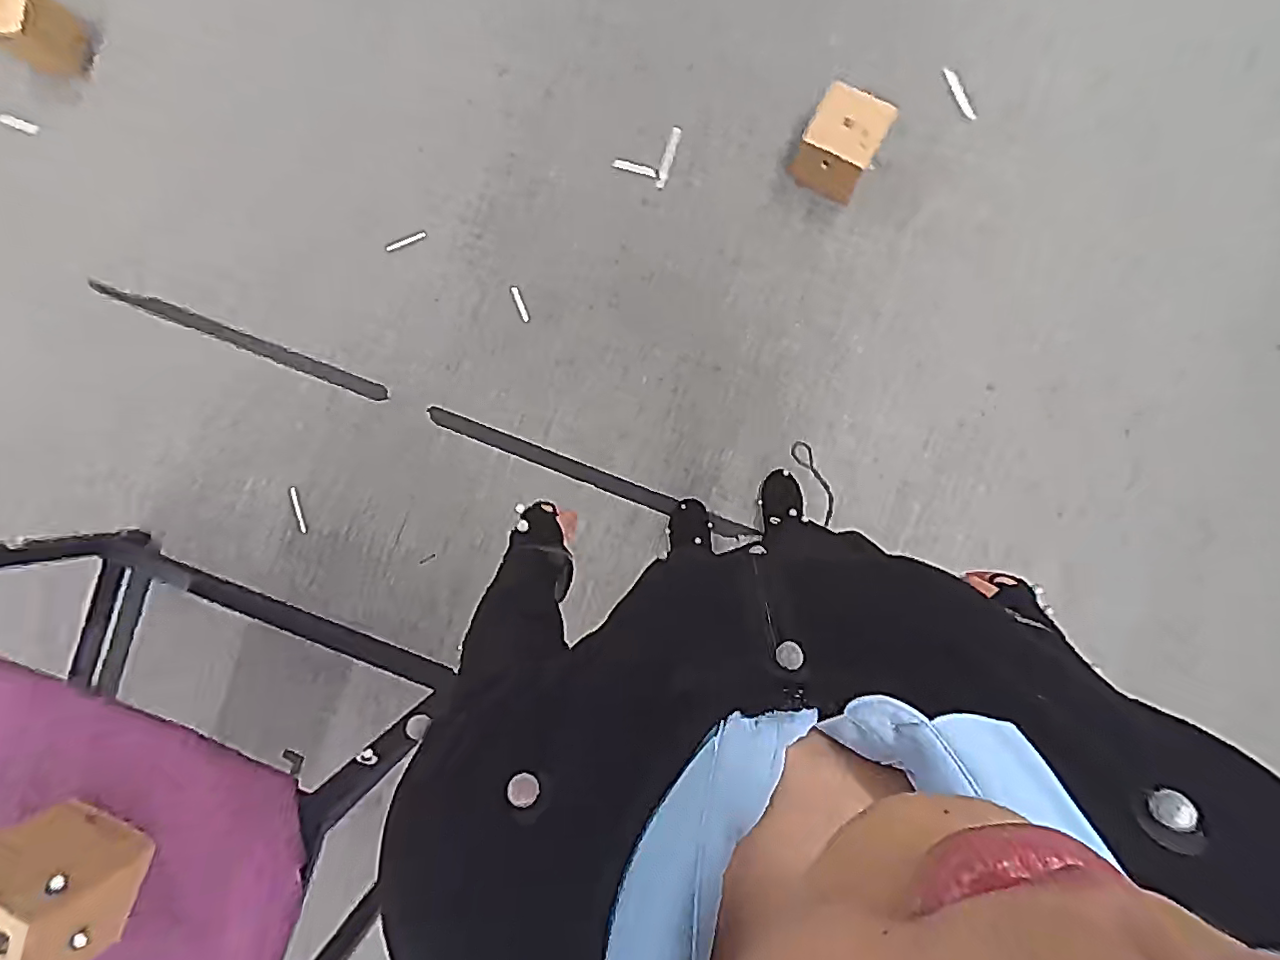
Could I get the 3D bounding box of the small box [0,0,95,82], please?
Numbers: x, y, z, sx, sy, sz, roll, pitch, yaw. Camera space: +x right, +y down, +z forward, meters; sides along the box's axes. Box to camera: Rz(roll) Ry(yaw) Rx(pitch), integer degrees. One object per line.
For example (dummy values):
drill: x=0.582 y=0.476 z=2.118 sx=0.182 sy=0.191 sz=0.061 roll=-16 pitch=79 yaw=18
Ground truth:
small box: x=-1.814 y=-1.346 z=1.629 sx=0.179 sy=0.176 sz=0.168 roll=13 pitch=91 yaw=6

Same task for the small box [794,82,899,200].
small box: x=0.521 y=-0.864 z=1.396 sx=0.179 sy=0.176 sz=0.168 roll=29 pitch=93 yaw=5
